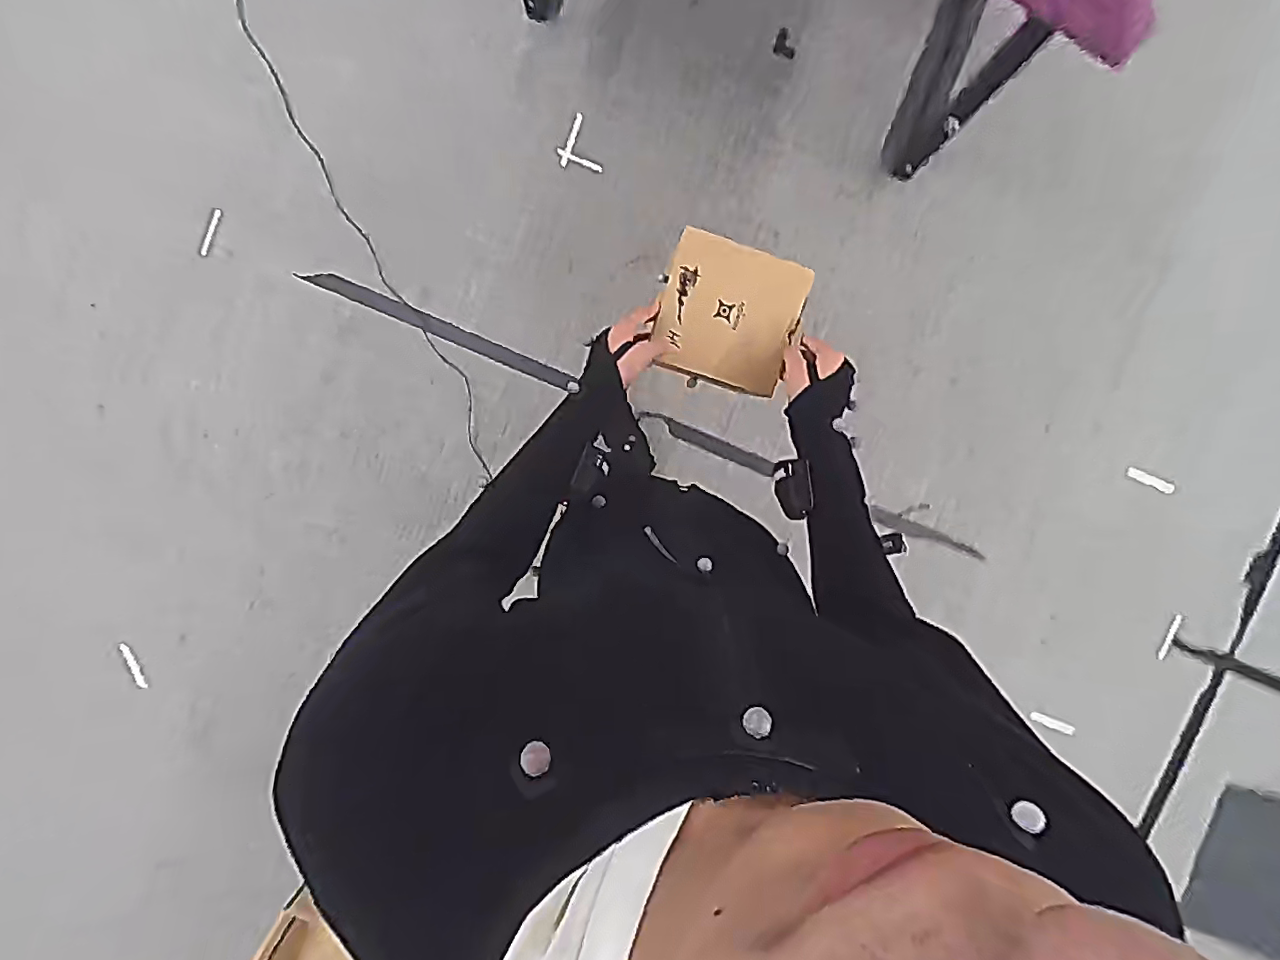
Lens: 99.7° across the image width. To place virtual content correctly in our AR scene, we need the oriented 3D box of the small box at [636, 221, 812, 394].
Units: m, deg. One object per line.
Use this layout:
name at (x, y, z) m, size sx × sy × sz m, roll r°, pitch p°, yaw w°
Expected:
small box at (0.103, -0.229, 0.753) m, size 0.179 × 0.176 × 0.168 m, roll 18°, pitch 99°, yaw -7°
